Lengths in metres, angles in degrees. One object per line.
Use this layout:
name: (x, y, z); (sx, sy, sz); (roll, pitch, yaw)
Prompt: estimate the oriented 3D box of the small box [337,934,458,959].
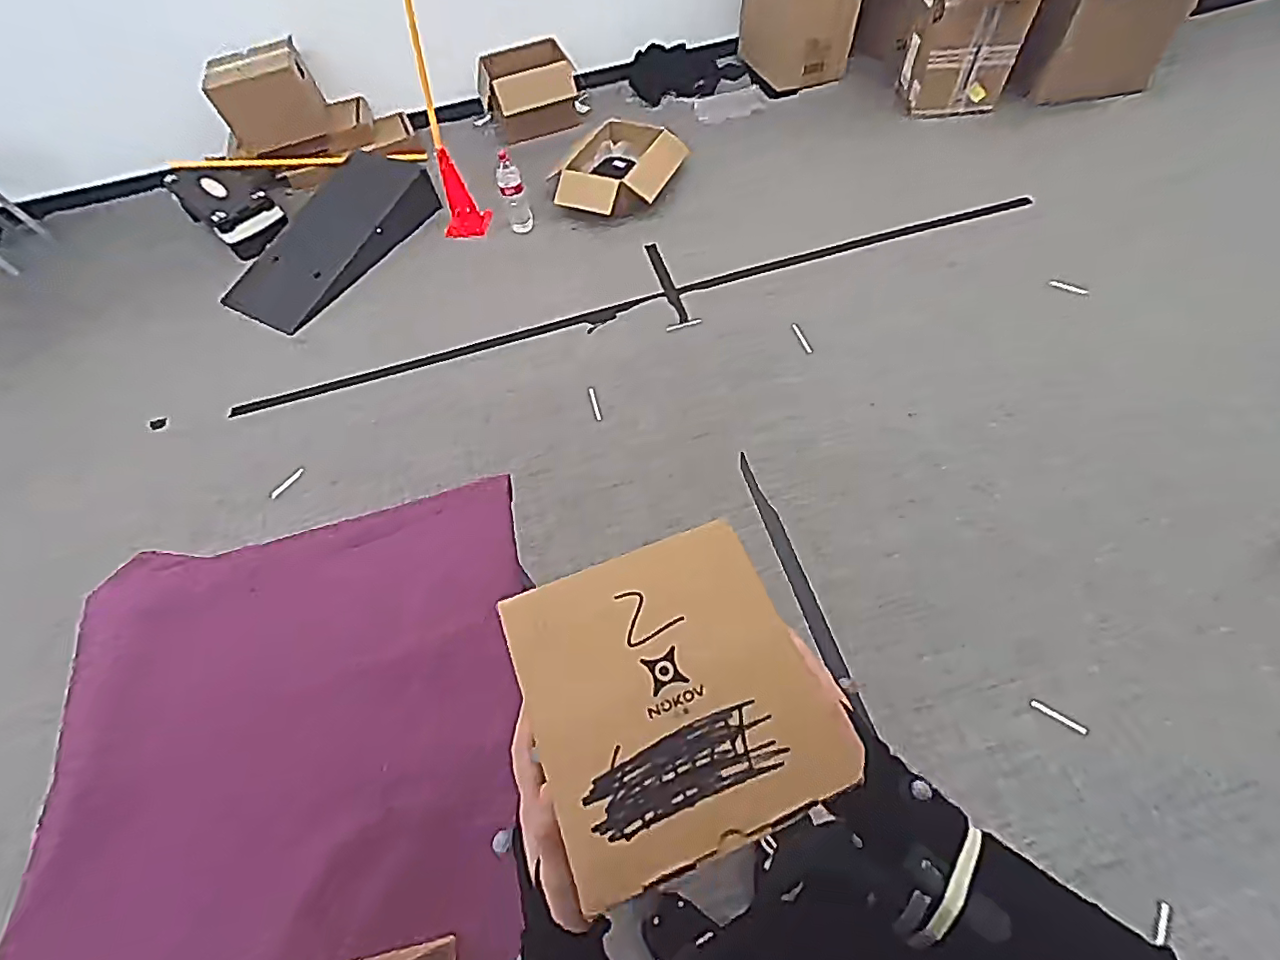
small box: (-0.273, 0.532, 0.471); (0.179, 0.176, 0.168); (-13, 59, -3)
